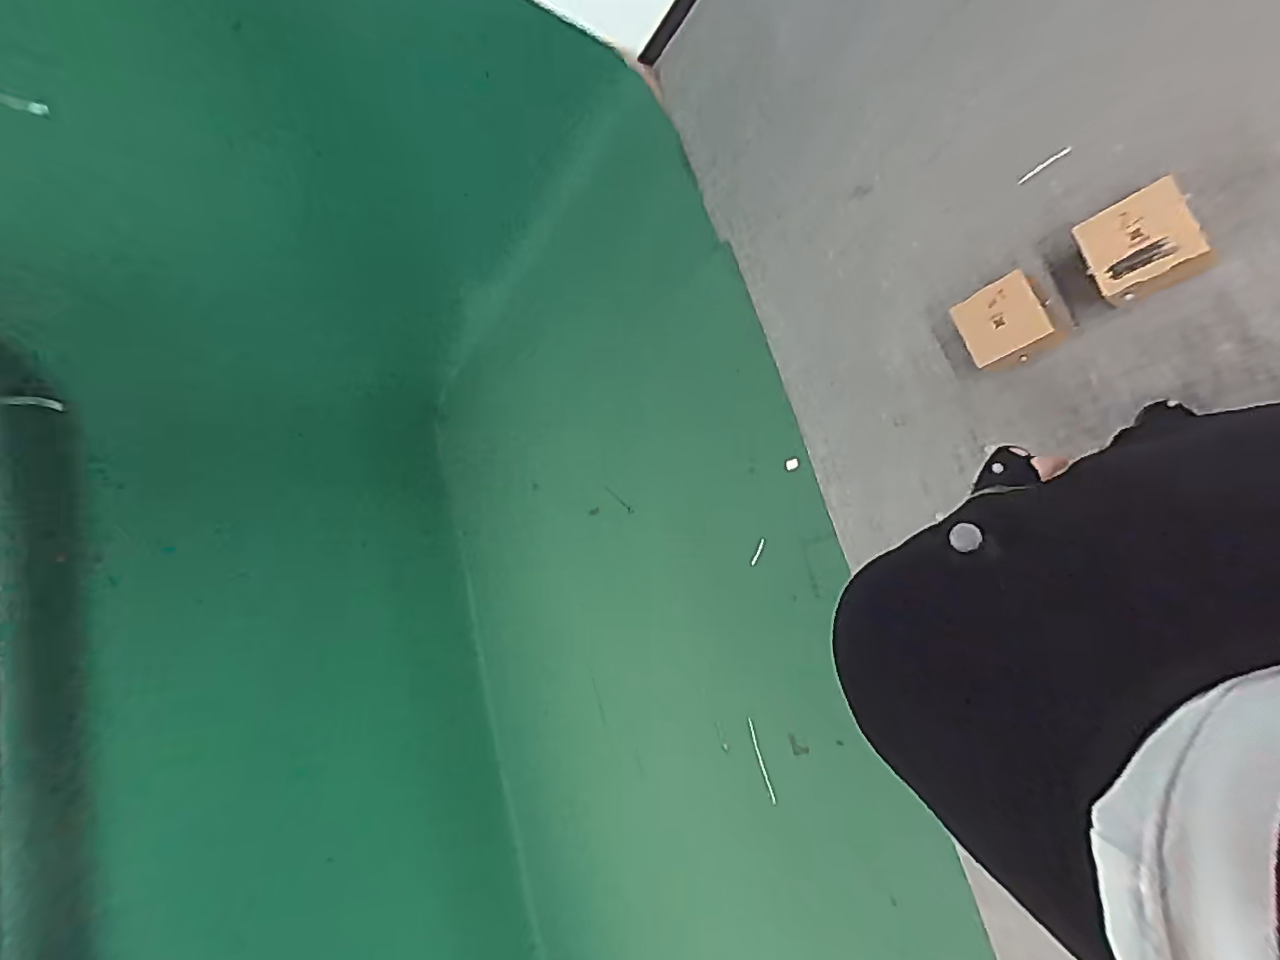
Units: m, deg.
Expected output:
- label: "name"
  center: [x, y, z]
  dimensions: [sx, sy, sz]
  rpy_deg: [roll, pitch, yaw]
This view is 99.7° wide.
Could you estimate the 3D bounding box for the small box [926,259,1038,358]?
- label: "small box"
  center: [0.864, -0.420, 1.360]
  dimensions: [0.168, 0.176, 0.179]
  rpy_deg: [-29, 73, 44]
